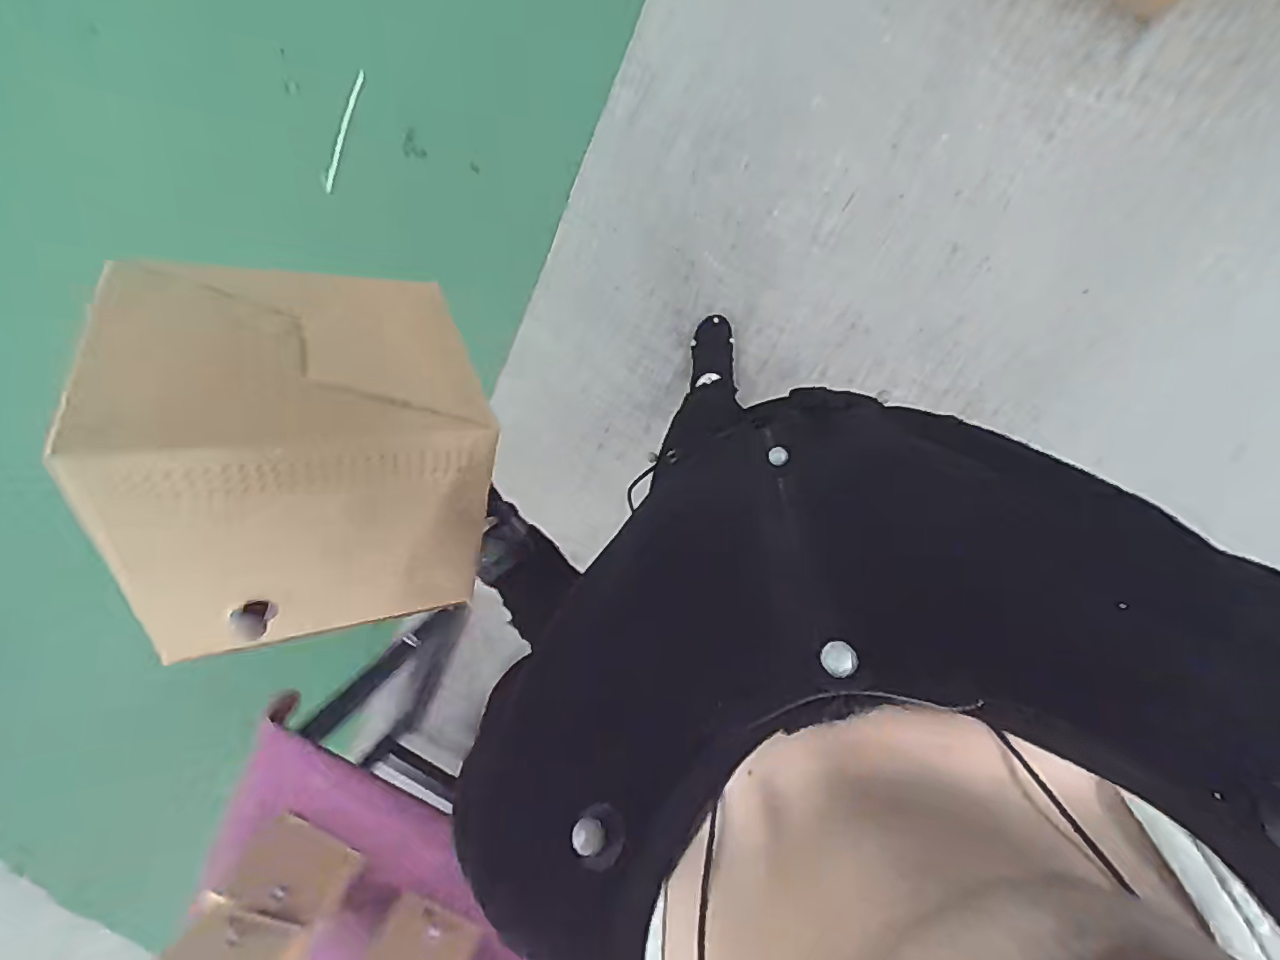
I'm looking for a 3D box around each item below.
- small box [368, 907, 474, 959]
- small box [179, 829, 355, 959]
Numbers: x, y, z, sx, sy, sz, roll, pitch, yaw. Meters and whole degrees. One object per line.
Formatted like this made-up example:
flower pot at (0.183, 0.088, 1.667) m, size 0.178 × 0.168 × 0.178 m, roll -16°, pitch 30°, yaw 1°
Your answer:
small box at (-0.415, 0.912, 0.943) m, size 0.168 × 0.176 × 0.179 m, roll 24°, pitch 103°, yaw 3°
small box at (-0.643, 0.766, 0.949) m, size 0.179 × 0.176 × 0.168 m, roll 30°, pitch 105°, yaw 2°
